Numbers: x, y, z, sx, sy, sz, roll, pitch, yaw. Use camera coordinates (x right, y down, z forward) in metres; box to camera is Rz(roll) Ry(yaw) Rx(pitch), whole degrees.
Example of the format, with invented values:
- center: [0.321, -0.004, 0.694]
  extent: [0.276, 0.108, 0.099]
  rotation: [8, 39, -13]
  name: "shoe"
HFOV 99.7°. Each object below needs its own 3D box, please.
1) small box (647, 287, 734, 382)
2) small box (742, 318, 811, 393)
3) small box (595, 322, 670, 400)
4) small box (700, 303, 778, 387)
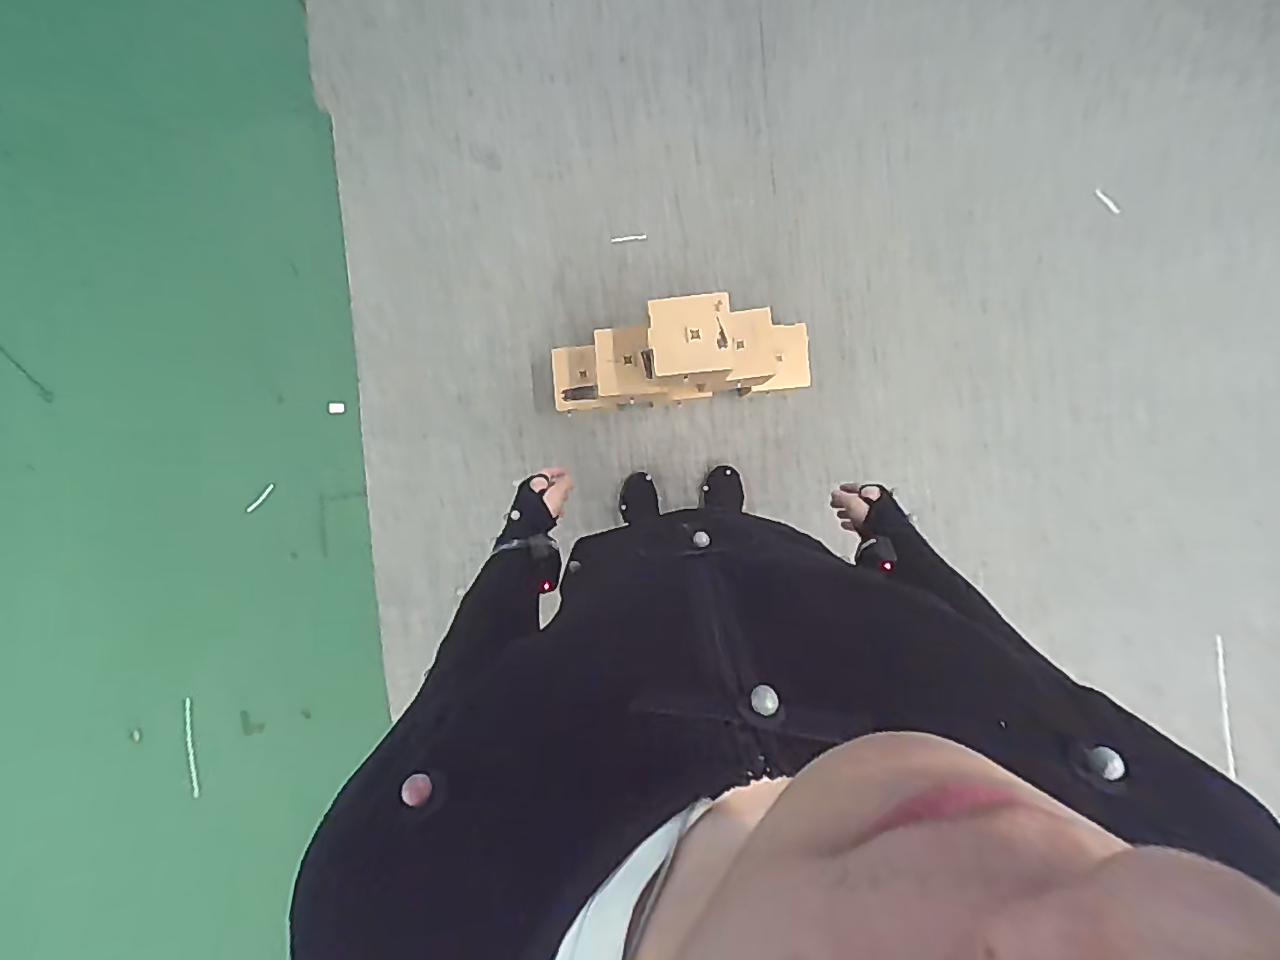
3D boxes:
- center: [0.111, -0.321, 1.222]
  extent: [0.179, 0.176, 0.168]
  rotation: [-5, 92, 2]
  name: "small box"
- center: [0.379, -0.347, 1.543]
  extent: [0.168, 0.176, 0.179]
  rotation: [-6, 91, 2]
  name: "small box"
- center: [-0.017, -0.301, 1.389]
  extent: [0.179, 0.176, 0.168]
  rotation: [-4, 91, 2]
  name: "small box"
- center: [0.240, -0.337, 1.383]
  extent: [0.179, 0.176, 0.168]
  rotation: [-7, 91, 0]
  name: "small box"
